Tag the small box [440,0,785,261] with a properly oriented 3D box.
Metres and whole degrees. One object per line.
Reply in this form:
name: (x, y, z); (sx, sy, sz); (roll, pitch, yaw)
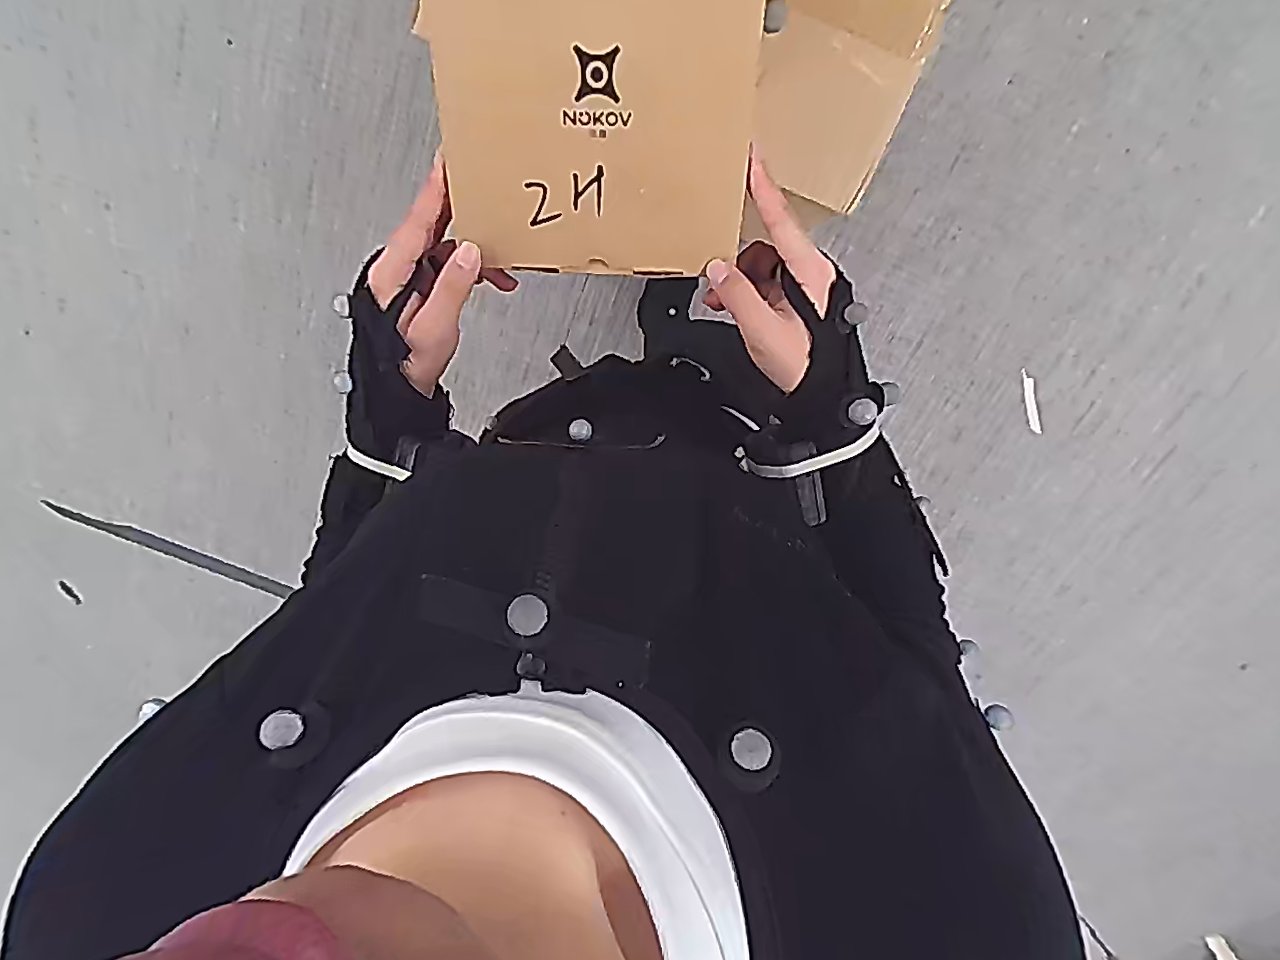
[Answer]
small box: (-0.013, -0.243, 0.336); (0.168, 0.176, 0.179); (3, 120, 0)
